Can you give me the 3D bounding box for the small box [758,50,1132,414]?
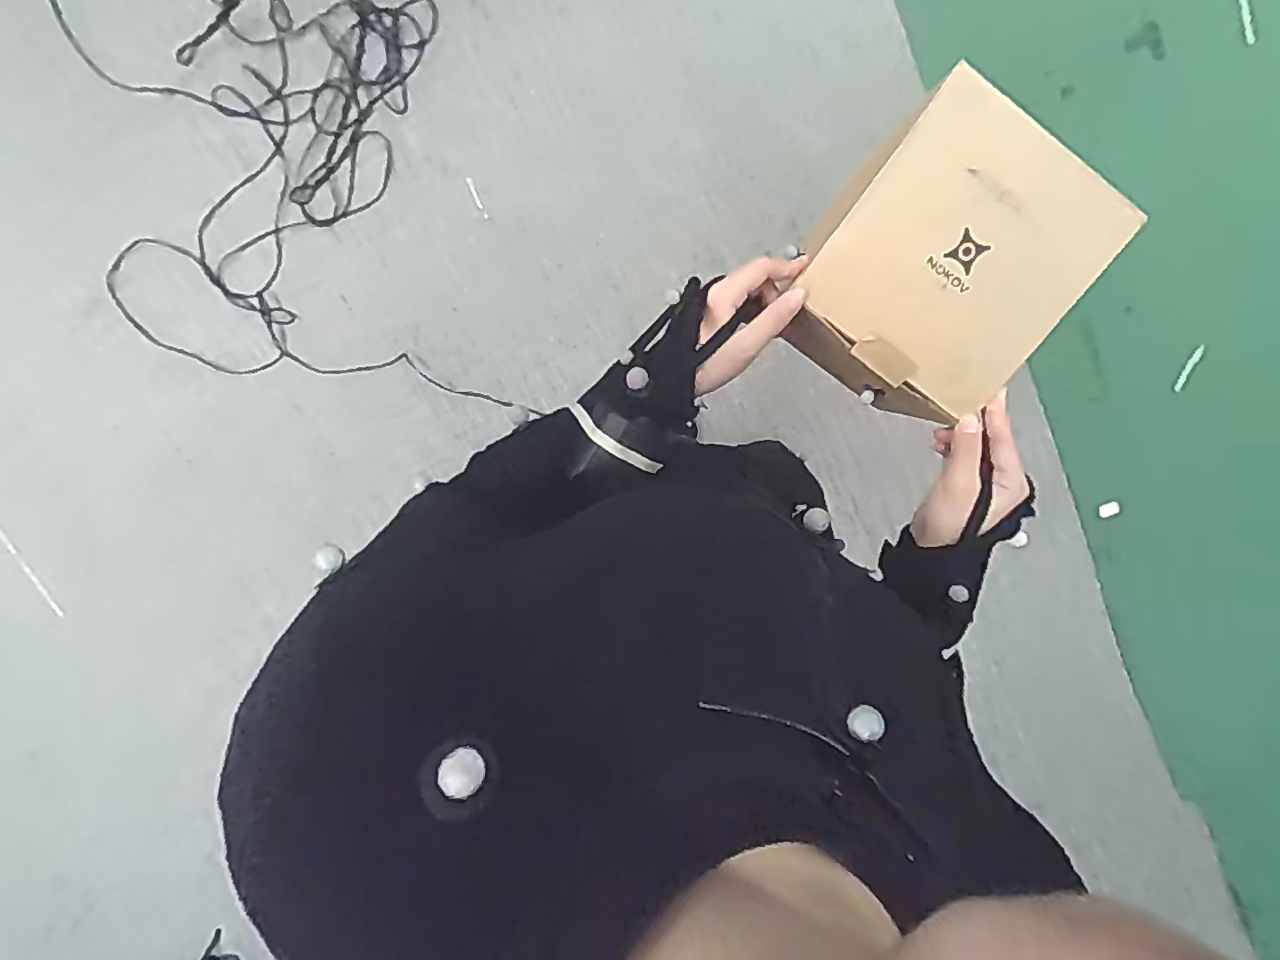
[{"bbox_3d":[0.215,-0.177,0.444,0.168,0.176,0.179,33,101,-6],"label":"small box"}]
